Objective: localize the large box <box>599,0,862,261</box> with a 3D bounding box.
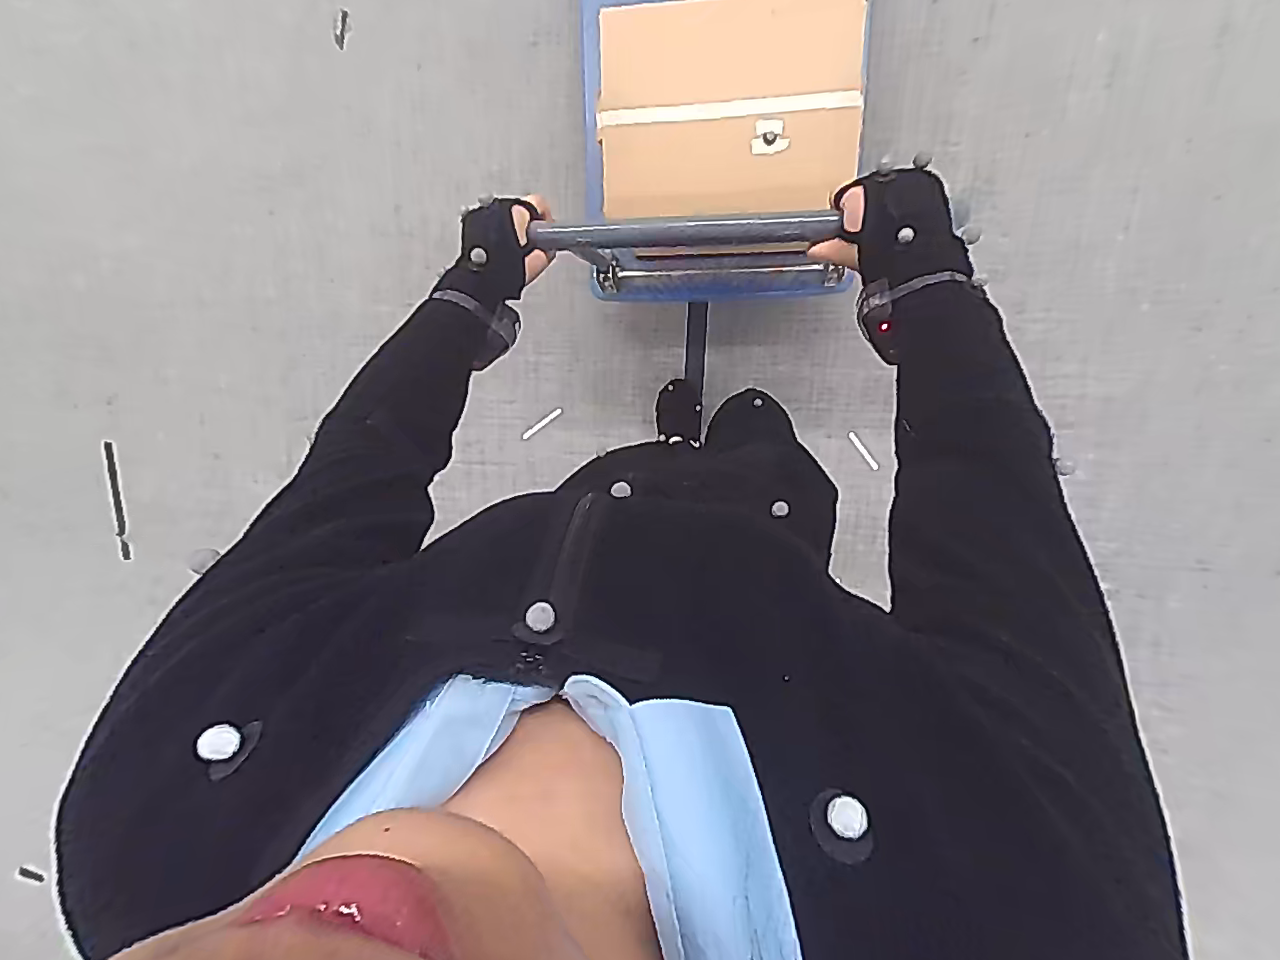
[{"bbox_3d":[0.151,-0.602,0.998,0.408,0.320,0.320,1,103,7],"label":"large box"}]
